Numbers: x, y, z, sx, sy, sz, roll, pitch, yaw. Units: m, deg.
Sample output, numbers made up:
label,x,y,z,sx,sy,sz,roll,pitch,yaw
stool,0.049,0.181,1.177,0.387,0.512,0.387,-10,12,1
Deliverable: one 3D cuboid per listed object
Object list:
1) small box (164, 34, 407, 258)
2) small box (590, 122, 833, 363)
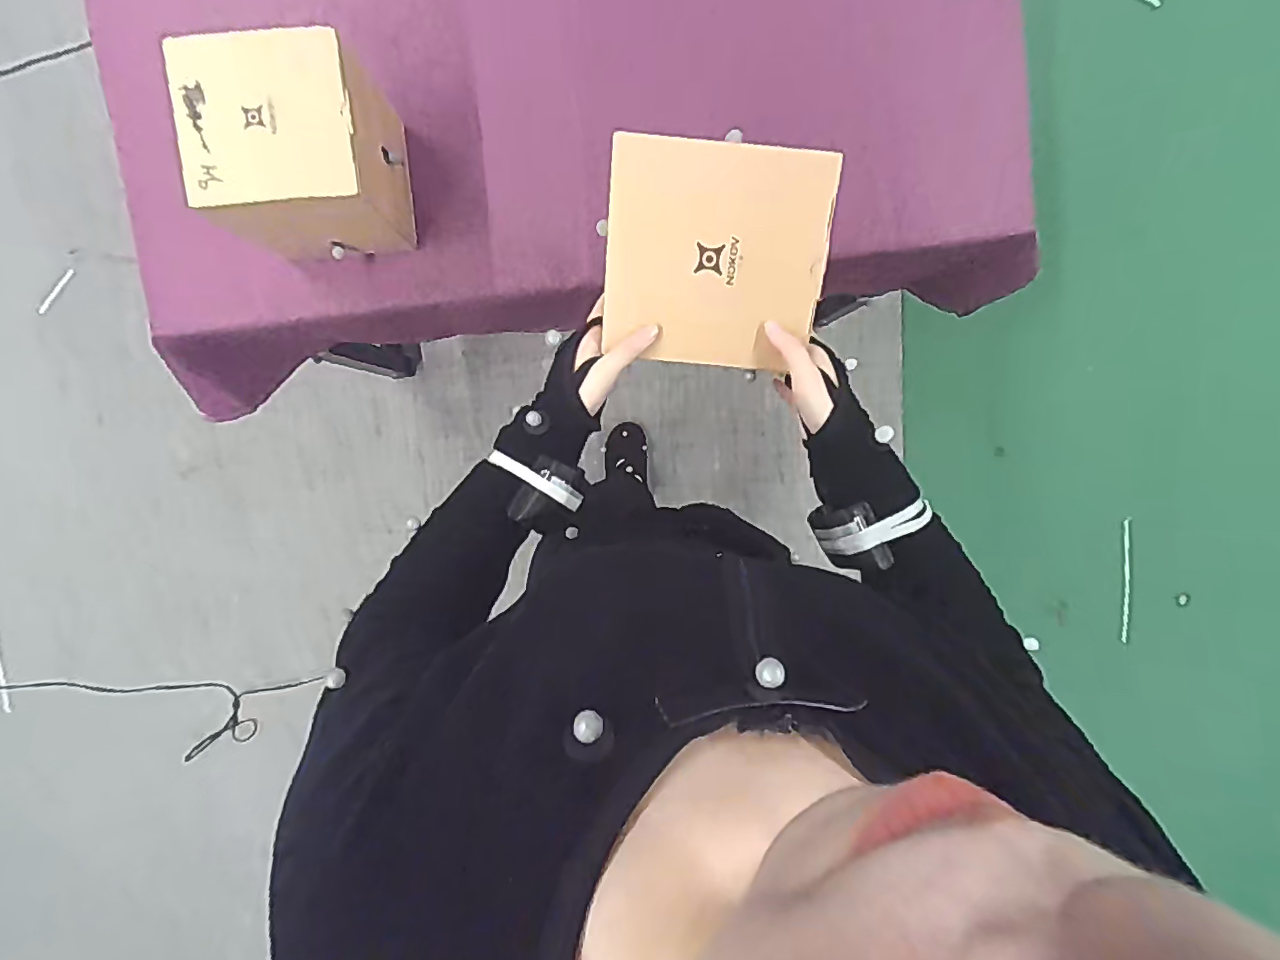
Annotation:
label,x,y,z,sx,sy,sz,roll,pitch,yaw
small box,-0.389,-0.372,0.631,0.179,0.176,0.168,-5,94,-3
small box,0.053,-0.207,0.505,0.179,0.176,0.168,5,109,-1
